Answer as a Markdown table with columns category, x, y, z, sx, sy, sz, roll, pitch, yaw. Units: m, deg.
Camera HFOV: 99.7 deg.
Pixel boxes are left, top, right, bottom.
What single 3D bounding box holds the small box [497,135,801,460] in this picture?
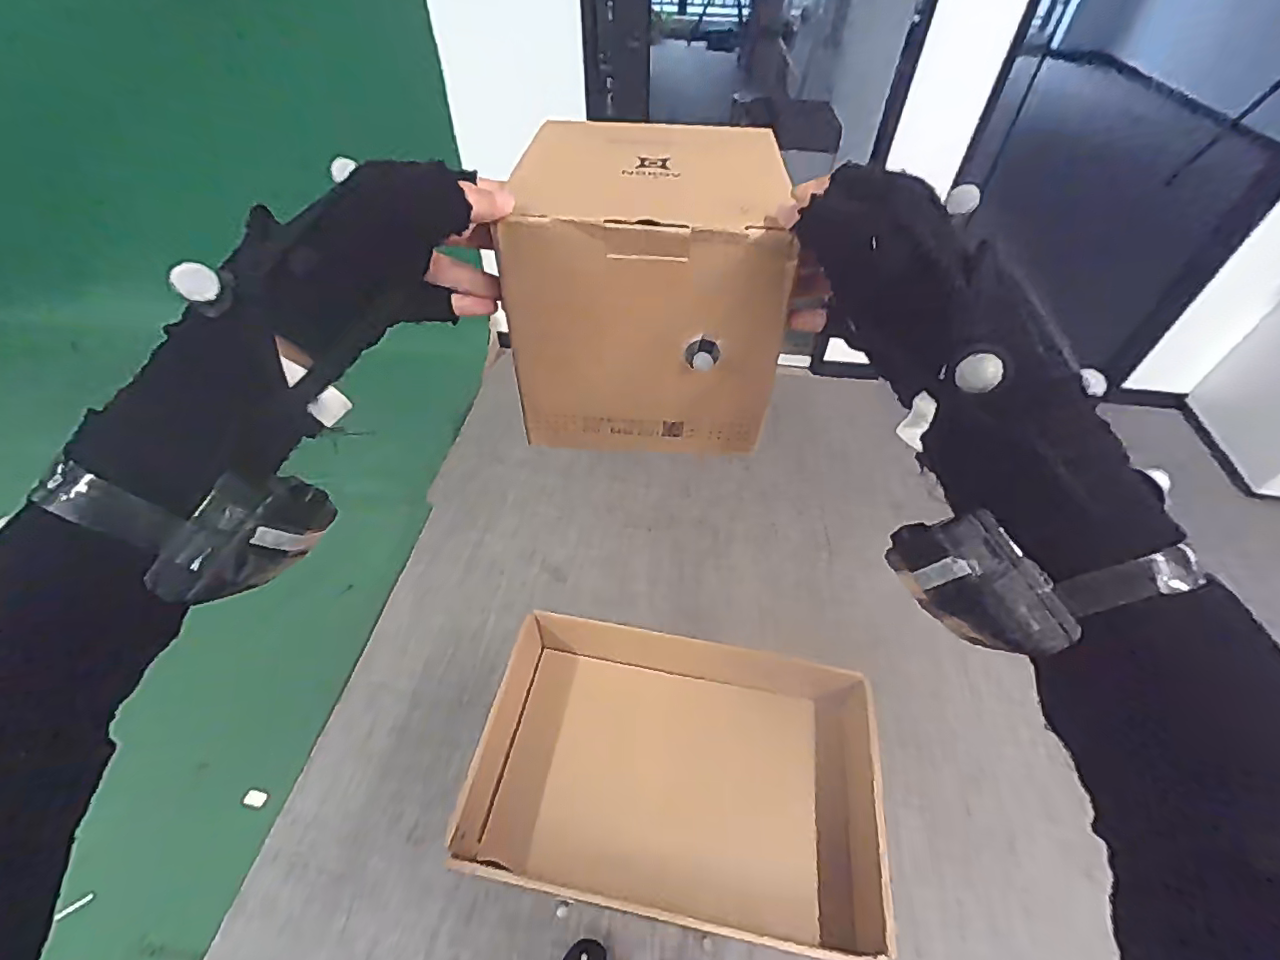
| category | x | y | z | sx | sy | sz | roll | pitch | yaw |
| --- | --- | --- | --- | --- | --- | --- | --- | --- | --- |
| small box | 0.008 | -0.132 | 0.398 | 0.168 | 0.176 | 0.179 | 4 | 46 | 0 |
